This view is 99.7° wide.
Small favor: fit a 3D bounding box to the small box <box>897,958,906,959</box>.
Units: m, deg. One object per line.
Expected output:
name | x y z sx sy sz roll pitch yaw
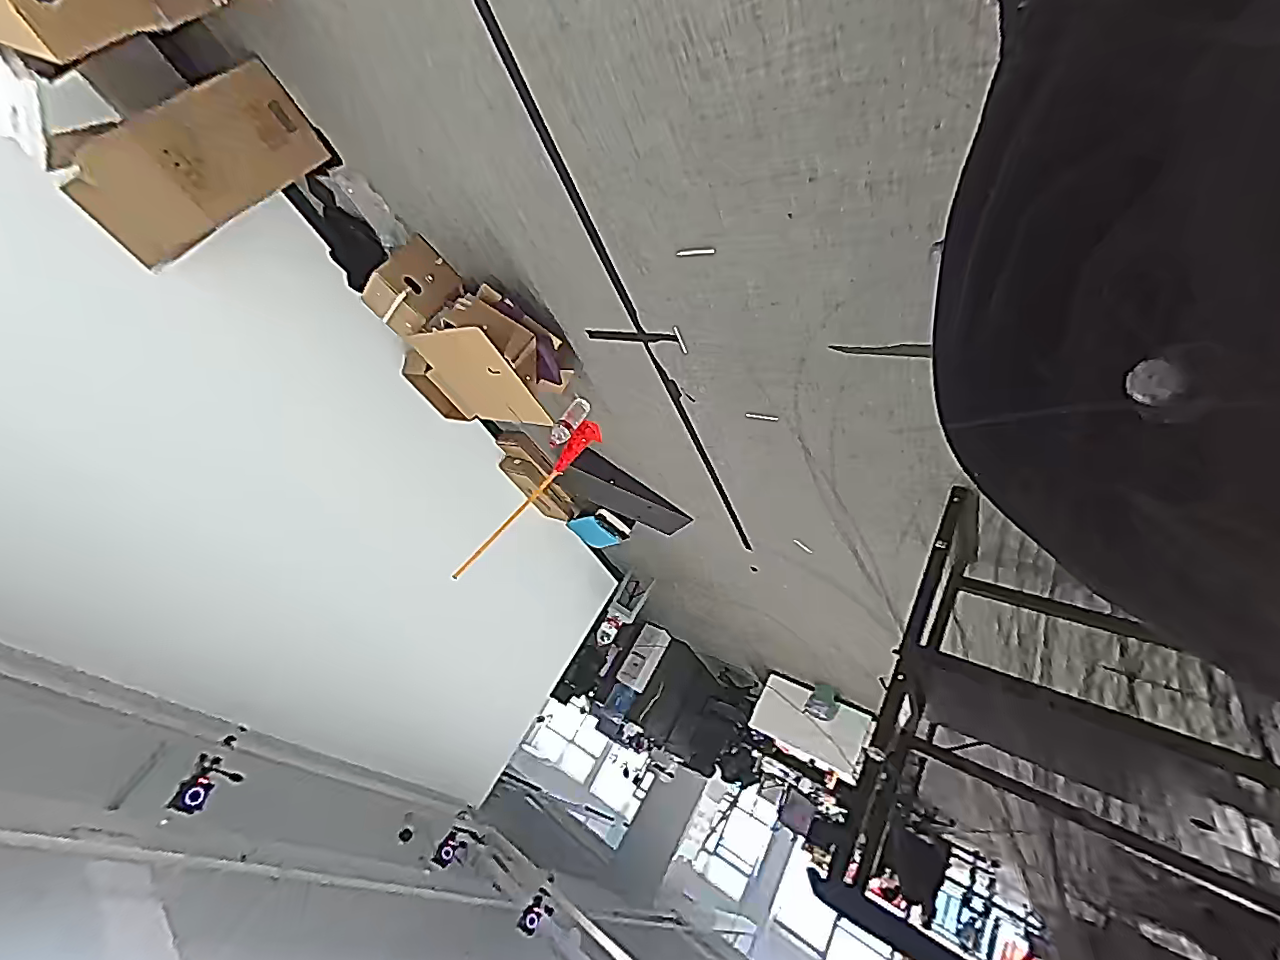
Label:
small box | 0.714 1.346 1.356 0.168 0.176 0.179 14 150 36
